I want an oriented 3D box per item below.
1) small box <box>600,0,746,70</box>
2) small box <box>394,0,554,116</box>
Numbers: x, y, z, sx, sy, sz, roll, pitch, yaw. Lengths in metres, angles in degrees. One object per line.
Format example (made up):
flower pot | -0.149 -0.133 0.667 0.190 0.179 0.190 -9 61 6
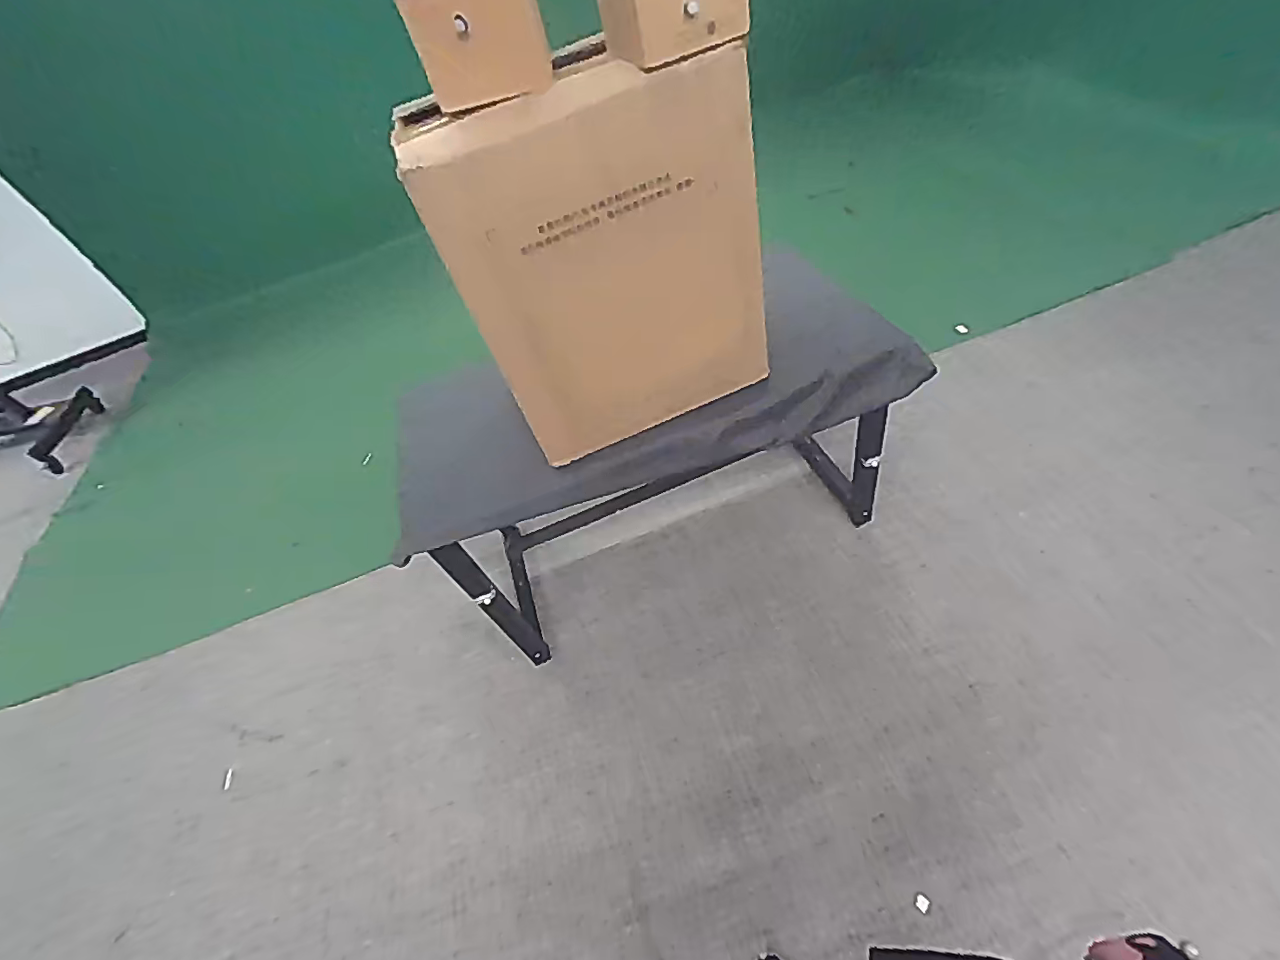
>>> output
small box | 0.036 -0.711 0.765 0.168 0.176 0.179 -23 48 -5
small box | -0.240 -0.678 0.803 0.179 0.176 0.168 -13 56 5
